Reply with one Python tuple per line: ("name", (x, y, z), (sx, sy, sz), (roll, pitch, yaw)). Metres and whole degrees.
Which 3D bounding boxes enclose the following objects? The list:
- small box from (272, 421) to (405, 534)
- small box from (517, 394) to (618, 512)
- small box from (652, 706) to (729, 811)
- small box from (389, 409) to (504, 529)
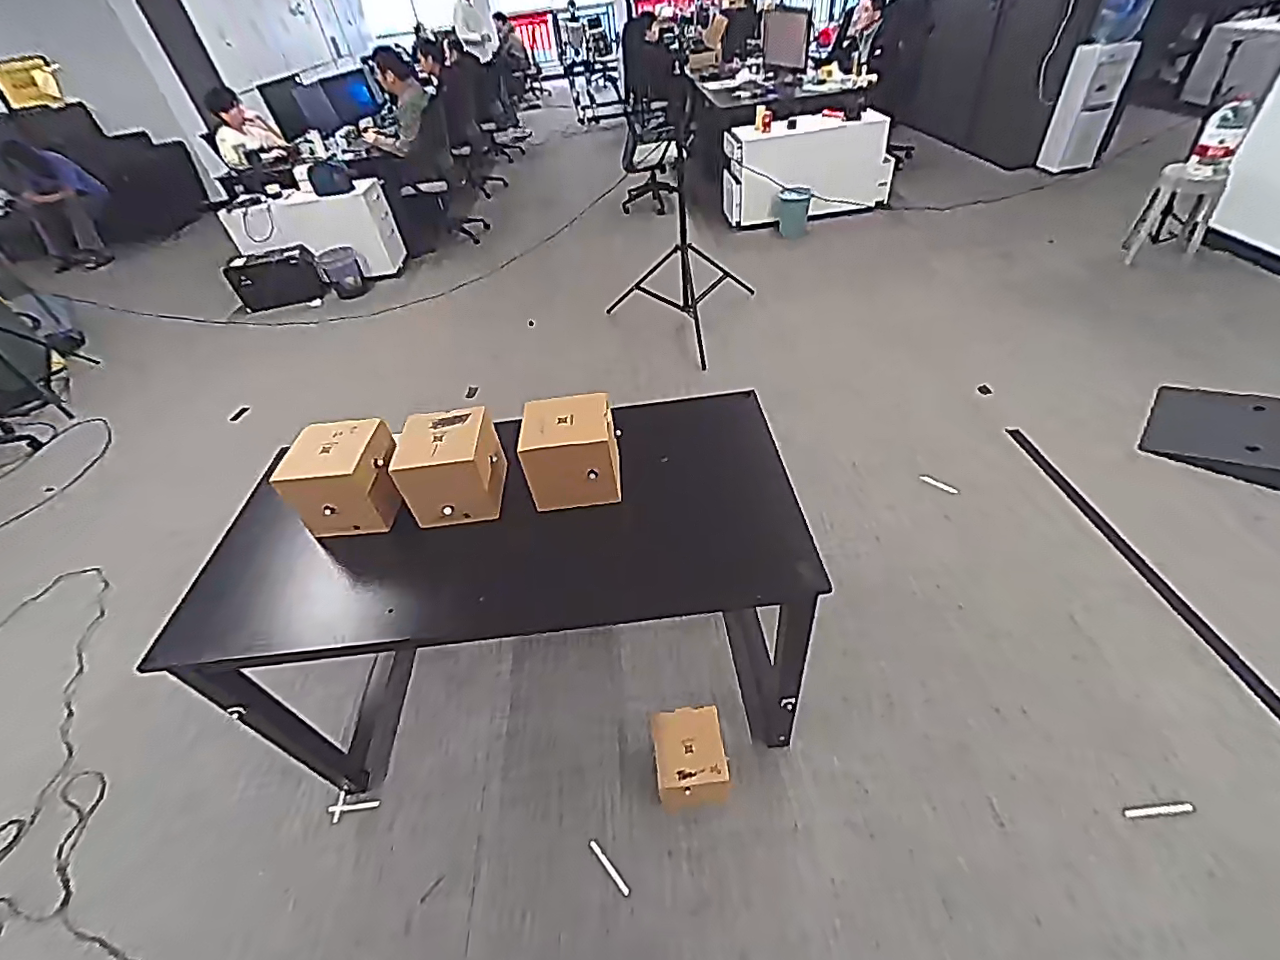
("small box", (-0.611, 0.001, 1.133), (0.168, 0.176, 0.179), (-5, 43, 3))
("small box", (-0.141, -0.054, 1.121), (0.179, 0.176, 0.168), (-8, 42, 2))
("small box", (0.125, 0.694, 1.348), (0.168, 0.176, 0.179), (-8, 42, 1))
("small box", (-0.388, -0.023, 1.123), (0.168, 0.176, 0.179), (-8, 44, 0))
